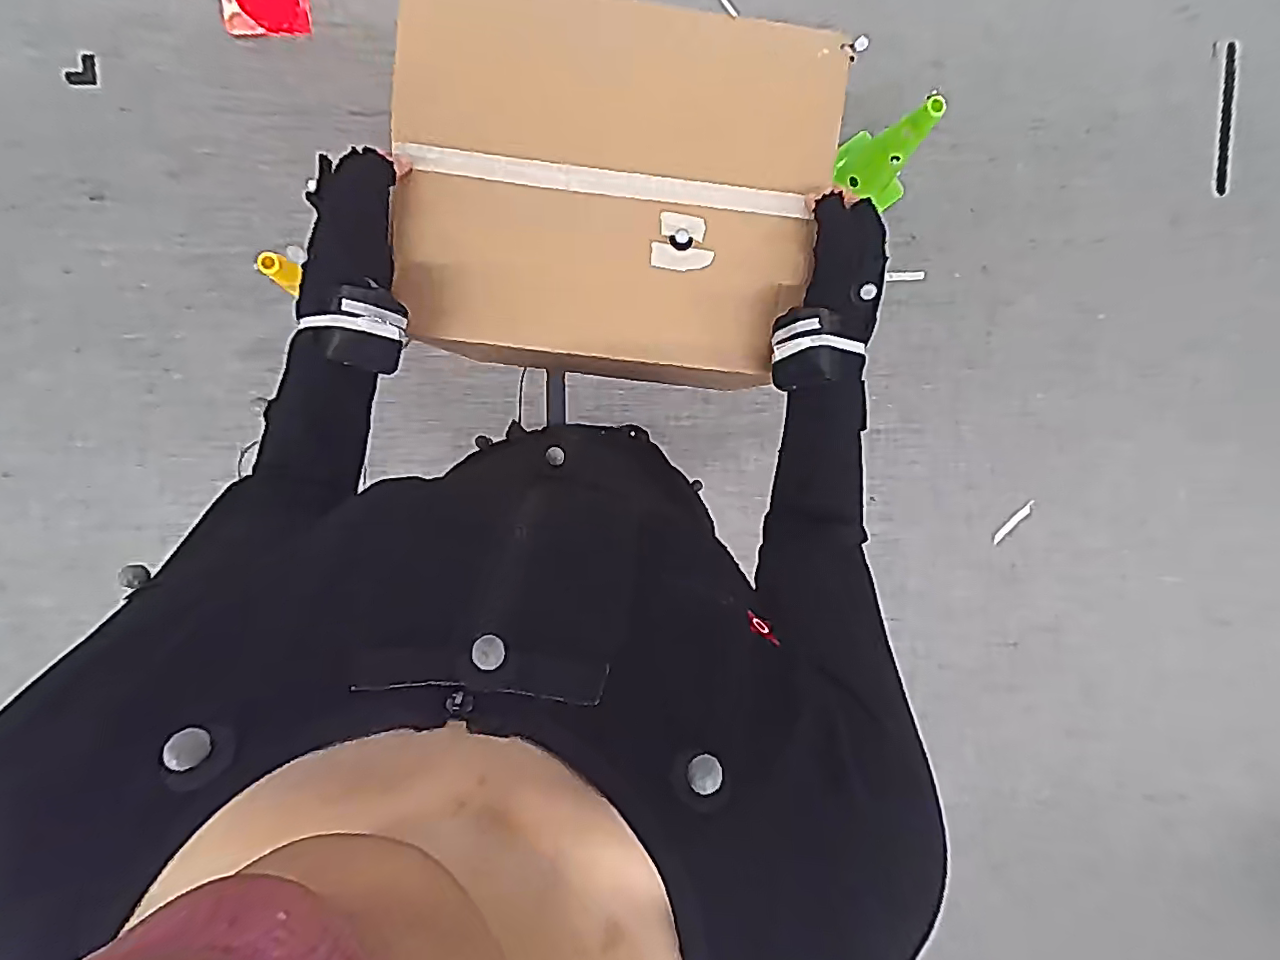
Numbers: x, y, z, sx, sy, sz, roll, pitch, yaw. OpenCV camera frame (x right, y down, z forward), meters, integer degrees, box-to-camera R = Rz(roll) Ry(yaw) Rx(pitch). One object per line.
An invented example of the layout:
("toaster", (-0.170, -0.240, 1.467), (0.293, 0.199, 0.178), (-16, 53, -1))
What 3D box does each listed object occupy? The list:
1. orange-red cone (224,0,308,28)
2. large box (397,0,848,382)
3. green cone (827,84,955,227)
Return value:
("orange-red cone", (-0.891, -1.165, 1.122), (0.198, 0.360, 0.199), (-3, 98, -2))
("large box", (-0.028, -0.300, 0.650), (0.408, 0.320, 0.320), (6, 98, -4))
("green cone", (0.592, -0.782, 1.254), (0.202, 0.368, 0.200), (-38, 98, -1))
